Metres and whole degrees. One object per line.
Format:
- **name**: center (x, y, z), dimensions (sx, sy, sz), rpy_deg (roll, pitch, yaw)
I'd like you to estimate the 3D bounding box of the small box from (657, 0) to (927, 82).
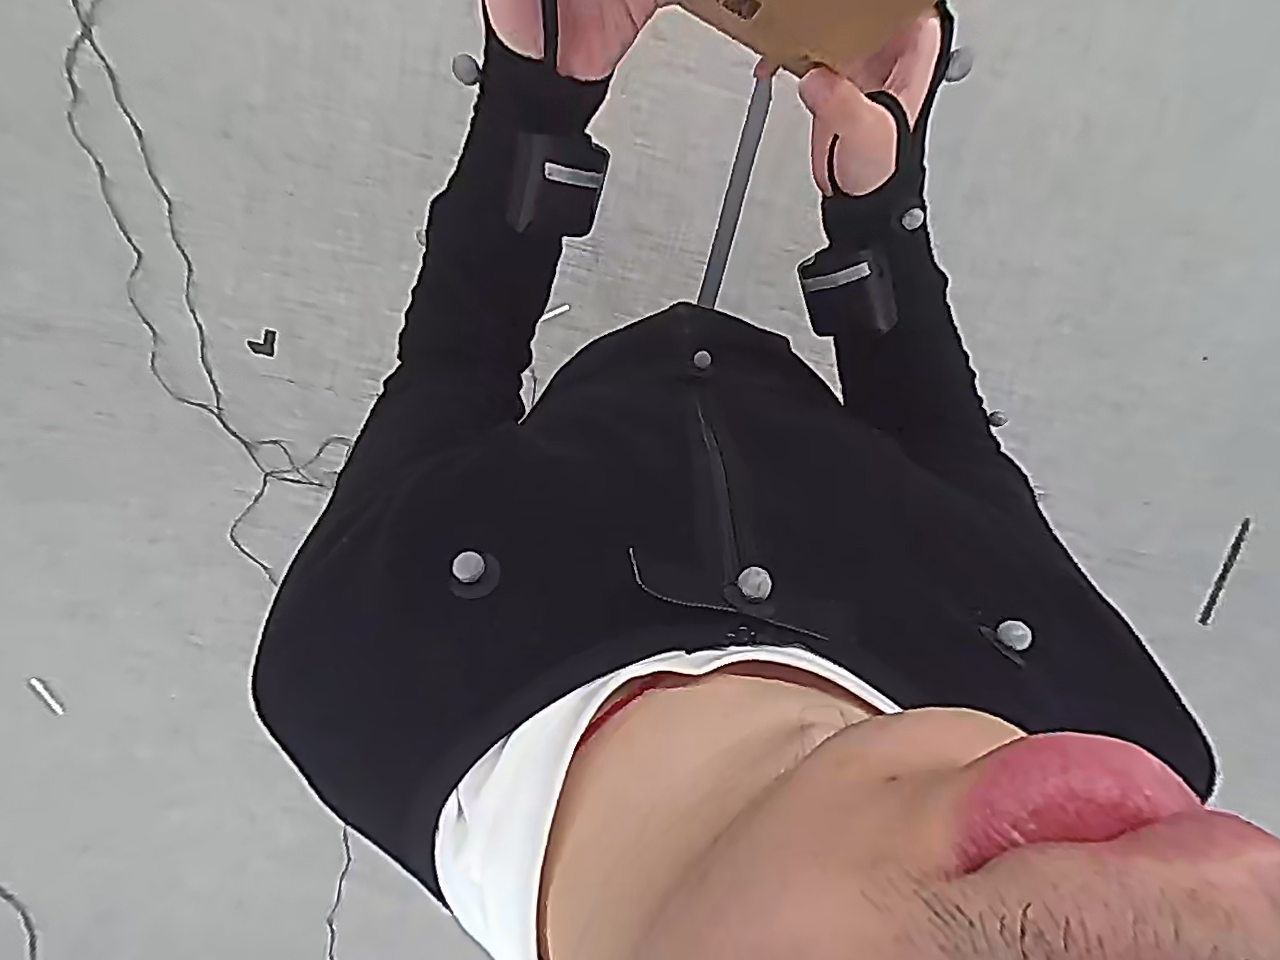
- **small box**: center (0.069, -0.291, 0.180), dimensions (0.168, 0.176, 0.179), rpy_deg (17, 101, -15)
